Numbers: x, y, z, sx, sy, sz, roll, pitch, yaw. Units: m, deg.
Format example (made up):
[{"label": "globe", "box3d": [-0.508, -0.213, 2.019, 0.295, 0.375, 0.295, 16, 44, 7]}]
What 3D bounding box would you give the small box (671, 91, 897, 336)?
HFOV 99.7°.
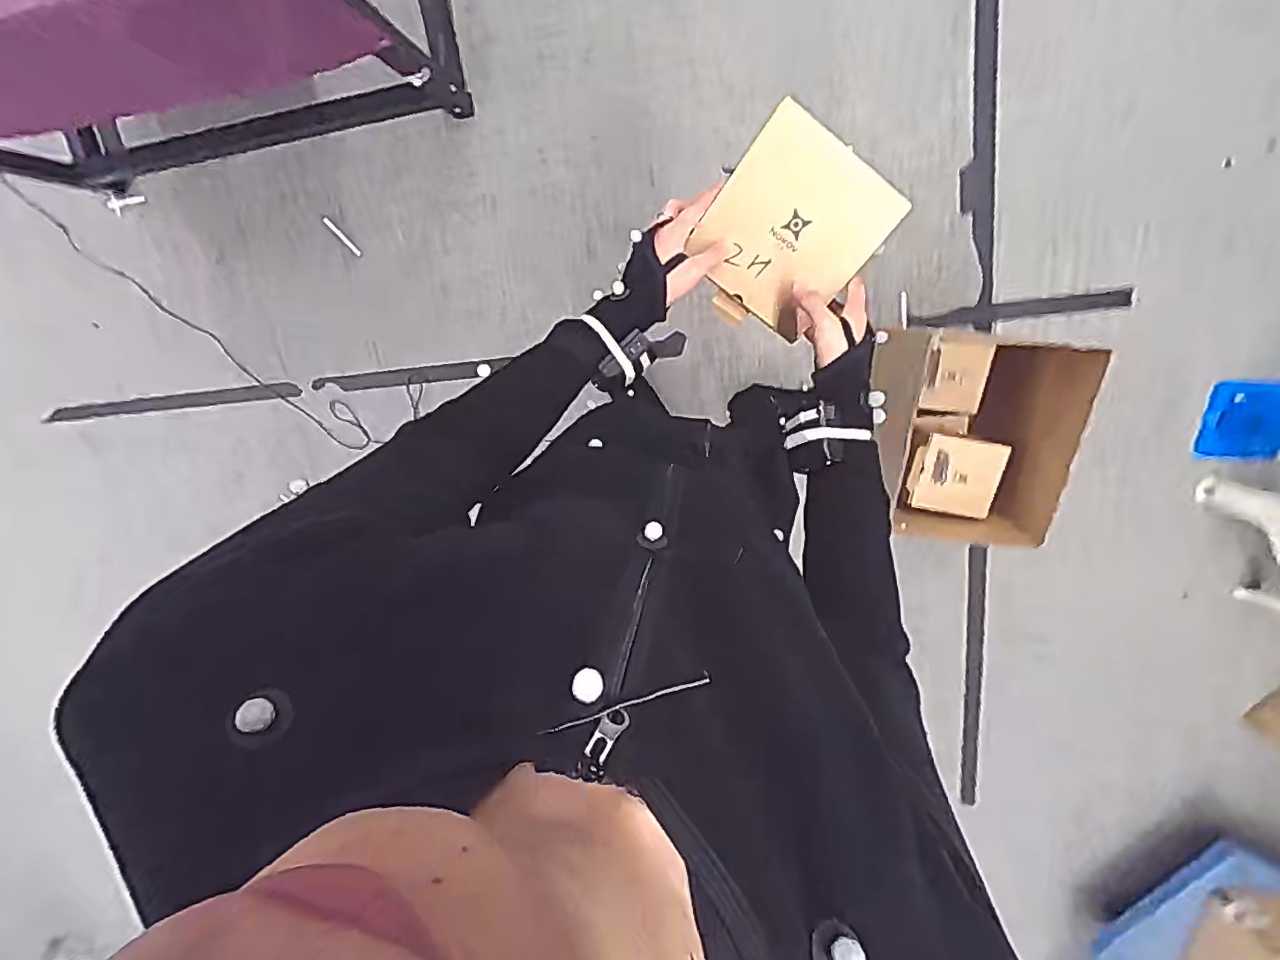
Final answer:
[{"label": "small box", "box3d": [0.155, -0.303, 0.632, 0.168, 0.176, 0.179, 35, 118, -8]}]
